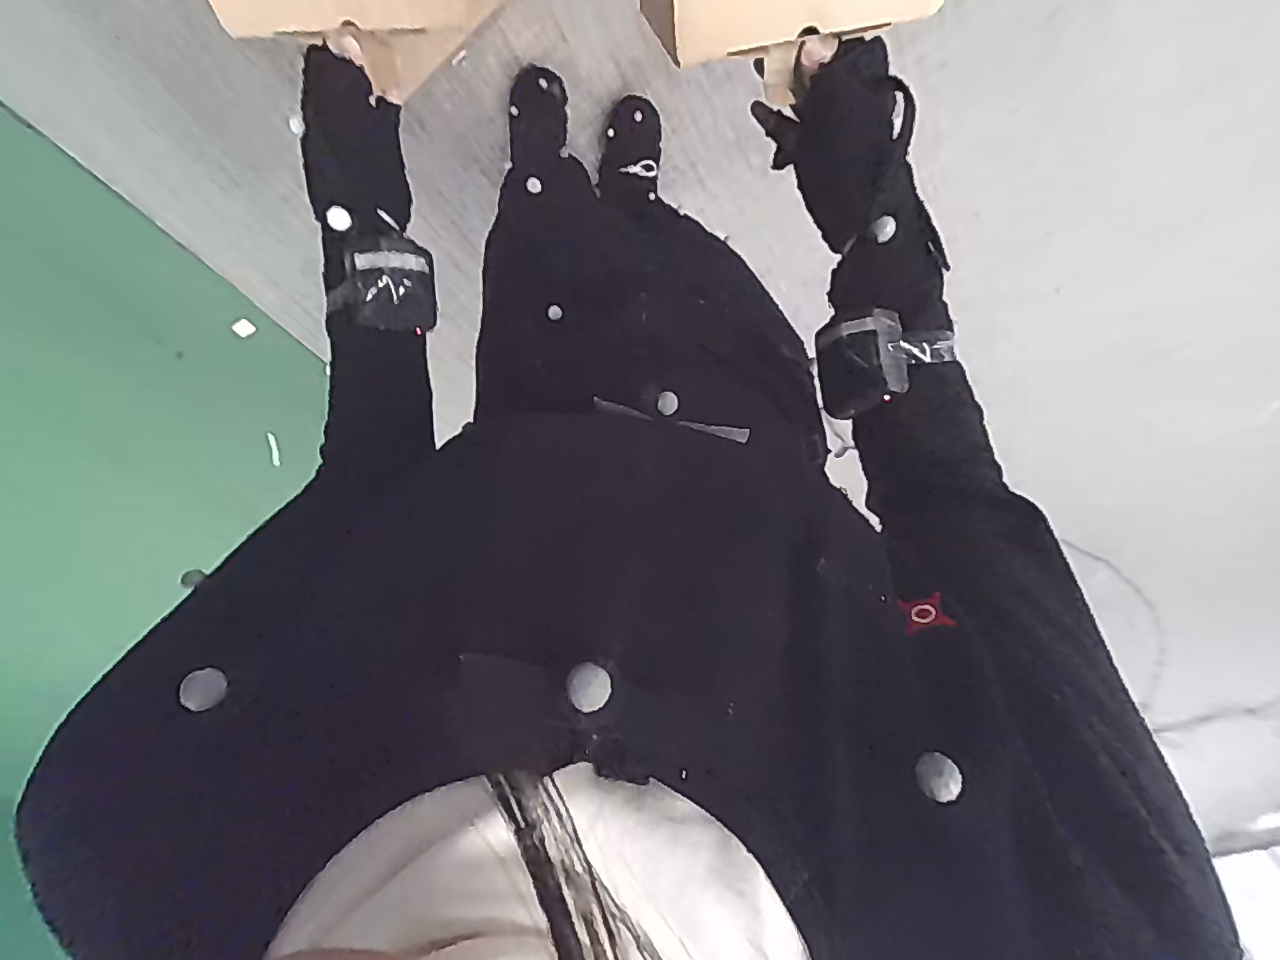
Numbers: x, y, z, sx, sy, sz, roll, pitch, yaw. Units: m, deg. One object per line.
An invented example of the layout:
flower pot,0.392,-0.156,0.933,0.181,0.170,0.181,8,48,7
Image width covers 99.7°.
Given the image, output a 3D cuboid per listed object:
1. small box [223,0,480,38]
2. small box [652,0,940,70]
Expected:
small box,-0.192,-0.417,0.340,0.168,0.176,0.179,-4,145,-2
small box,0.086,-0.388,0.324,0.168,0.176,0.179,-11,141,1
